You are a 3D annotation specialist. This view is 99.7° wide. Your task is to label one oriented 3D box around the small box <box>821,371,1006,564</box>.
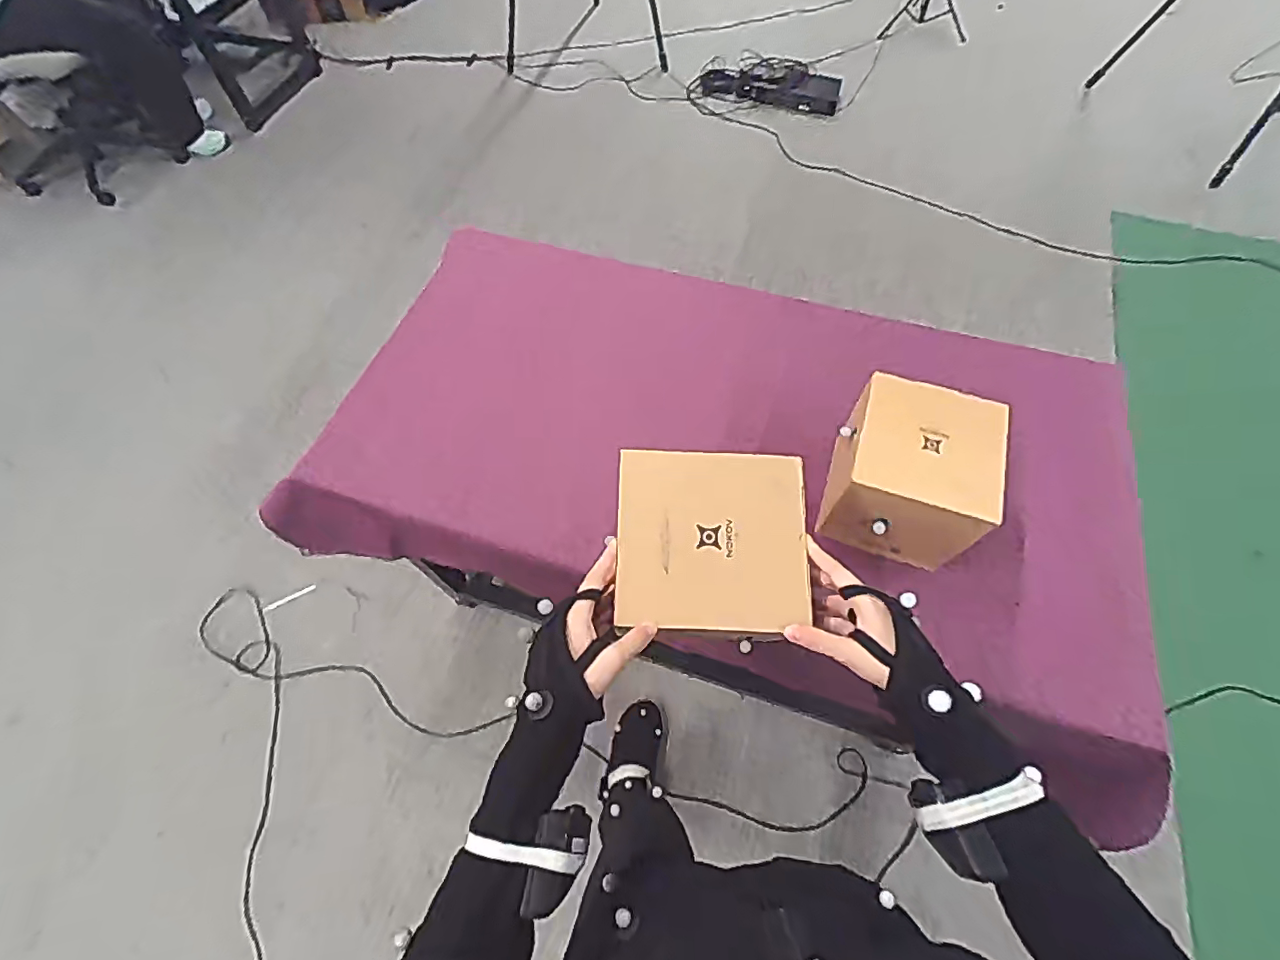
[{"bbox_3d":[0.353,-0.009,0.721,0.168,0.176,0.179,17,62,11],"label":"small box"}]
